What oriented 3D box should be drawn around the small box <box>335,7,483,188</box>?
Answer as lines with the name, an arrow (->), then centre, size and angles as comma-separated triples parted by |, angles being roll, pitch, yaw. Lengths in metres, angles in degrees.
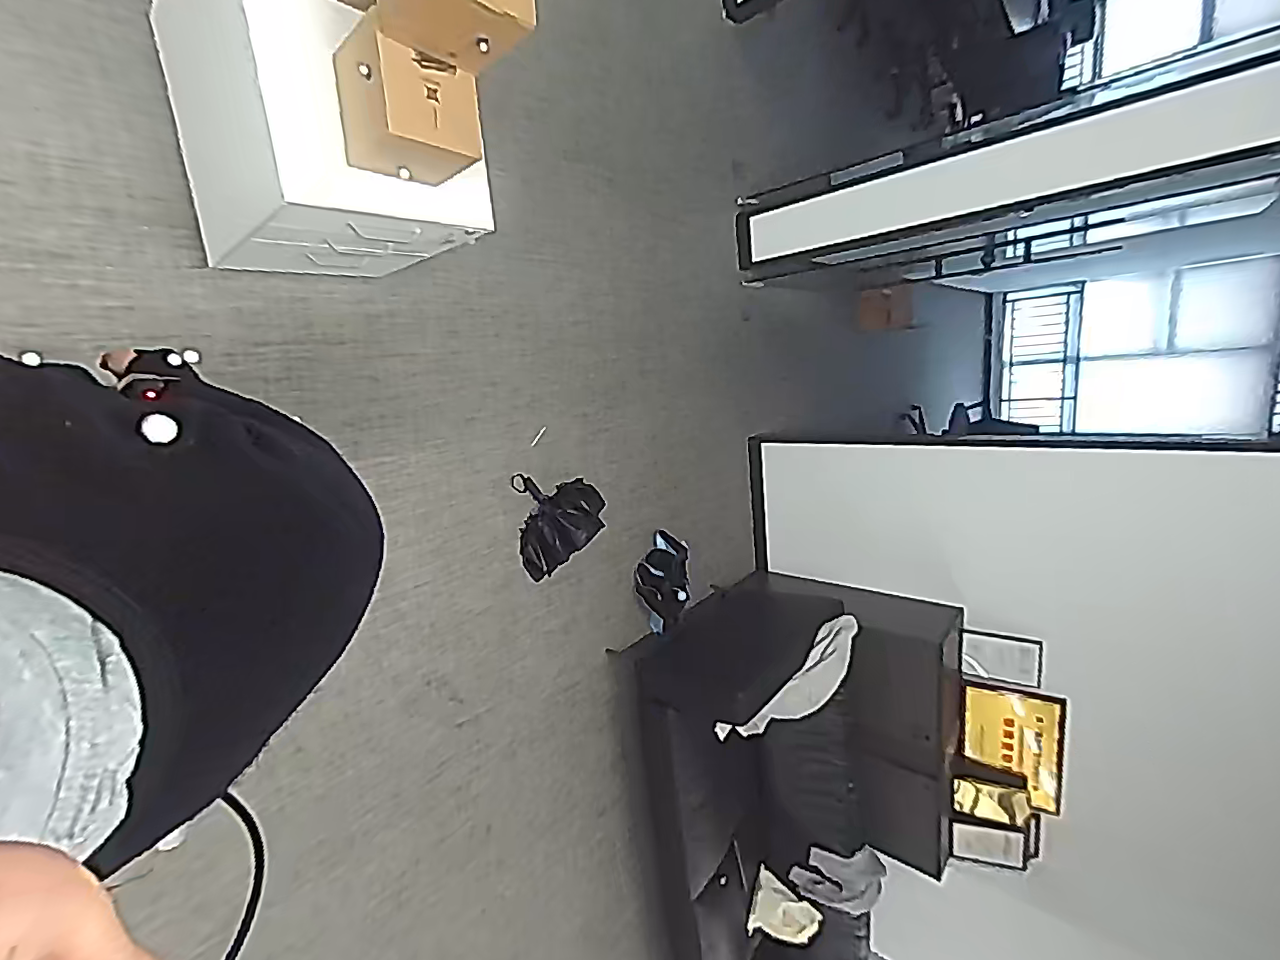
small box -> -0.390, -0.623, 0.910 | 0.168, 0.176, 0.179 | -15, 105, -46

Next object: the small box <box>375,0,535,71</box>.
small box -> -0.275, -0.744, 0.783 | 0.168, 0.176, 0.179 | -16, 105, -48
